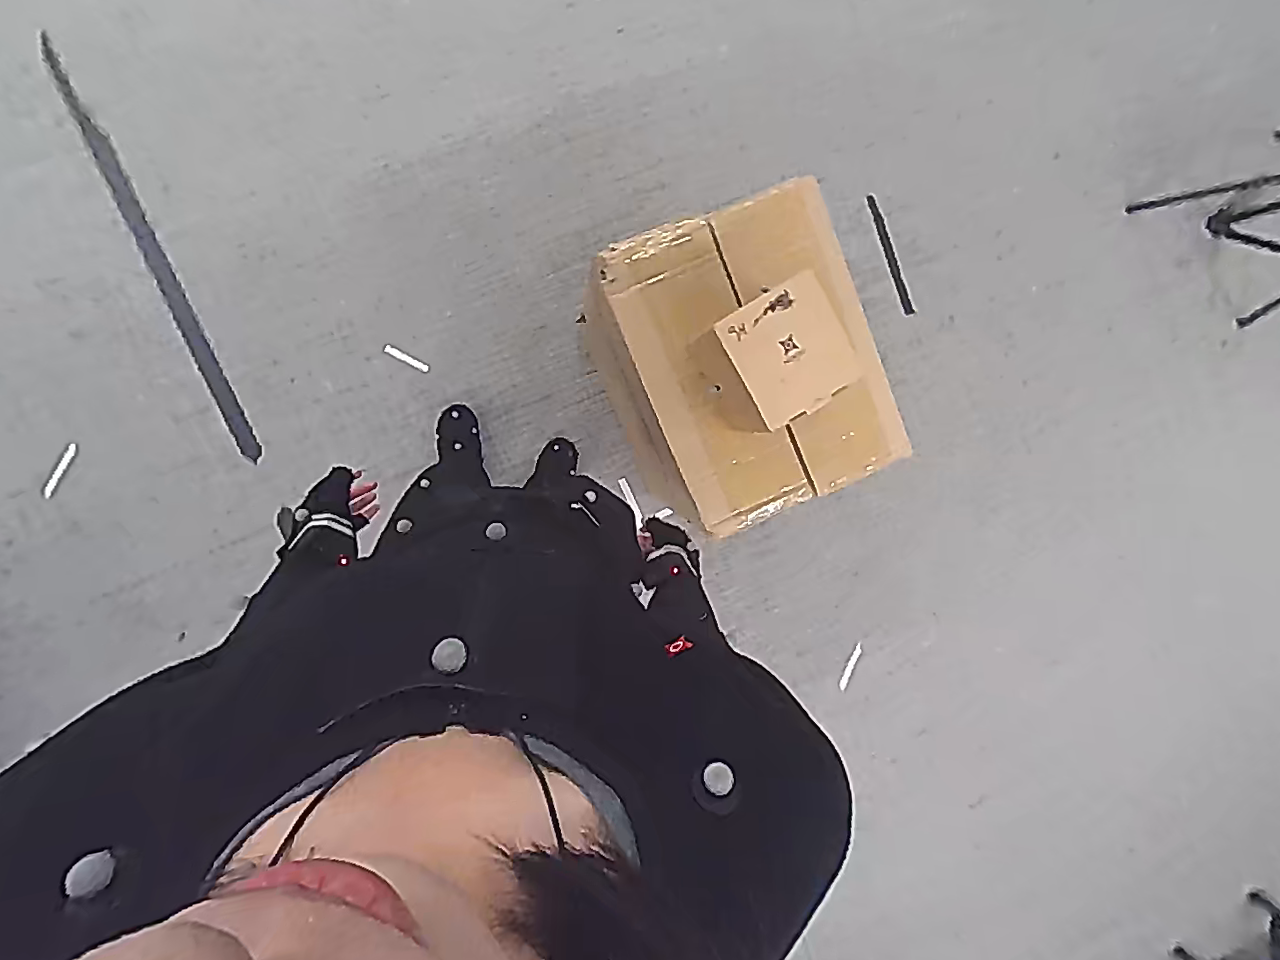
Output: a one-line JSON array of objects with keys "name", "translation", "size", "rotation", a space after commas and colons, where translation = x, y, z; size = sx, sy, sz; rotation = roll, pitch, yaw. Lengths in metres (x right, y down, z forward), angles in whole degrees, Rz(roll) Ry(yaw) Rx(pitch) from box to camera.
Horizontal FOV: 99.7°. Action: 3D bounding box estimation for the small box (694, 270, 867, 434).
[{"name": "small box", "translation": [0.205, -0.188, 0.834], "size": [0.168, 0.176, 0.179], "rotation": [-31, 99, -3]}]
